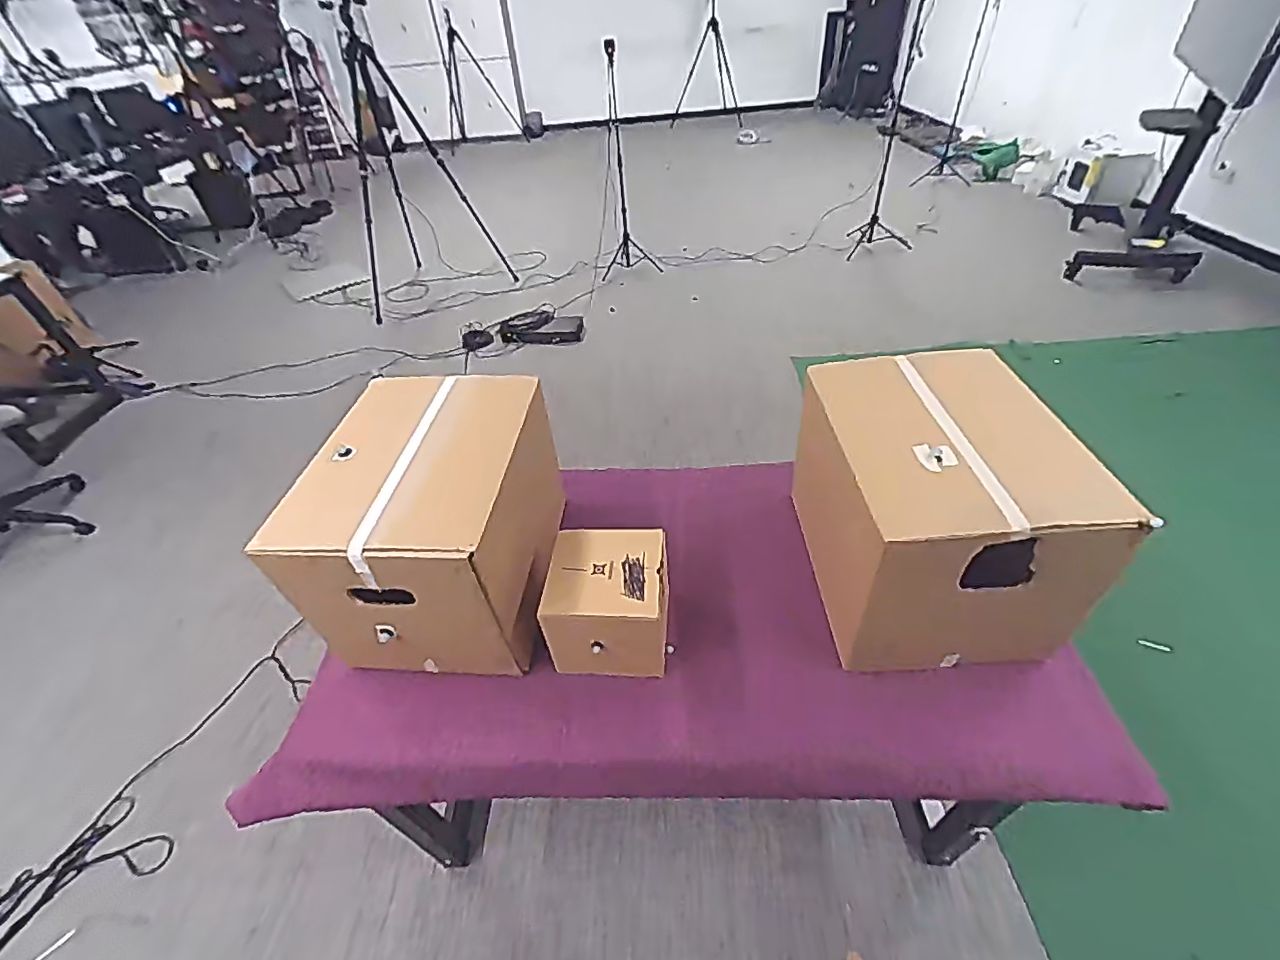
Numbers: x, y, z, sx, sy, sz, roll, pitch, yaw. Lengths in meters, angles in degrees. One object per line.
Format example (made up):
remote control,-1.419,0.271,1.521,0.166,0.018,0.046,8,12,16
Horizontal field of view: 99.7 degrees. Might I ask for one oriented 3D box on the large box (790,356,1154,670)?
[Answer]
large box,0.453,0.044,0.876,0.320,0.320,0.408,-5,43,4
